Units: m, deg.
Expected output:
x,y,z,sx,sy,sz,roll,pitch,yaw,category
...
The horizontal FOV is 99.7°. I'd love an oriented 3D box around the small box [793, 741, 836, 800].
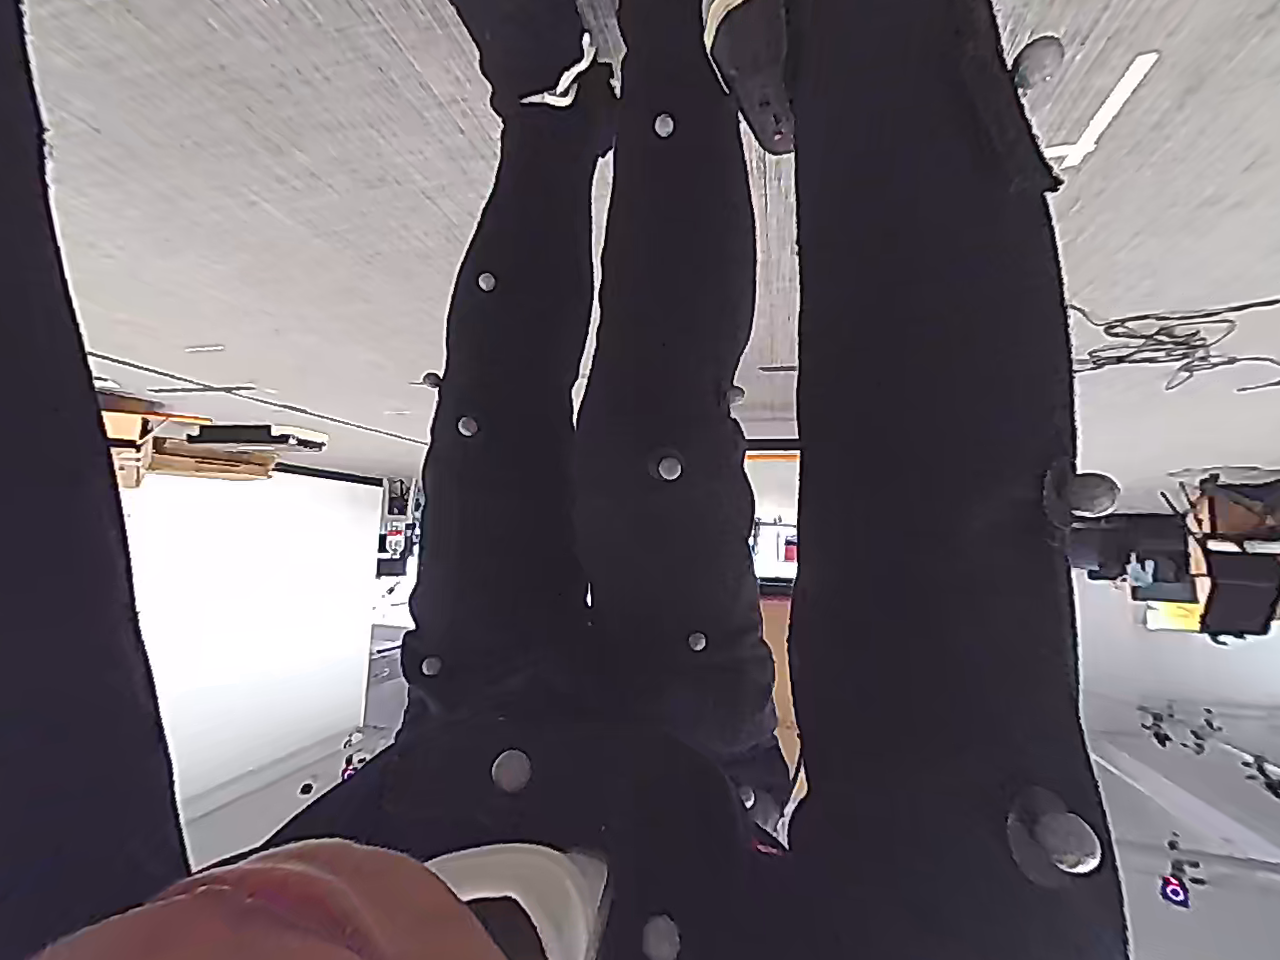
x,y,z,sx,sy,sz,roll,pitch,yaw,category
0.741,1.227,2.304,0.168,0.176,0.179,0,174,15,small box
